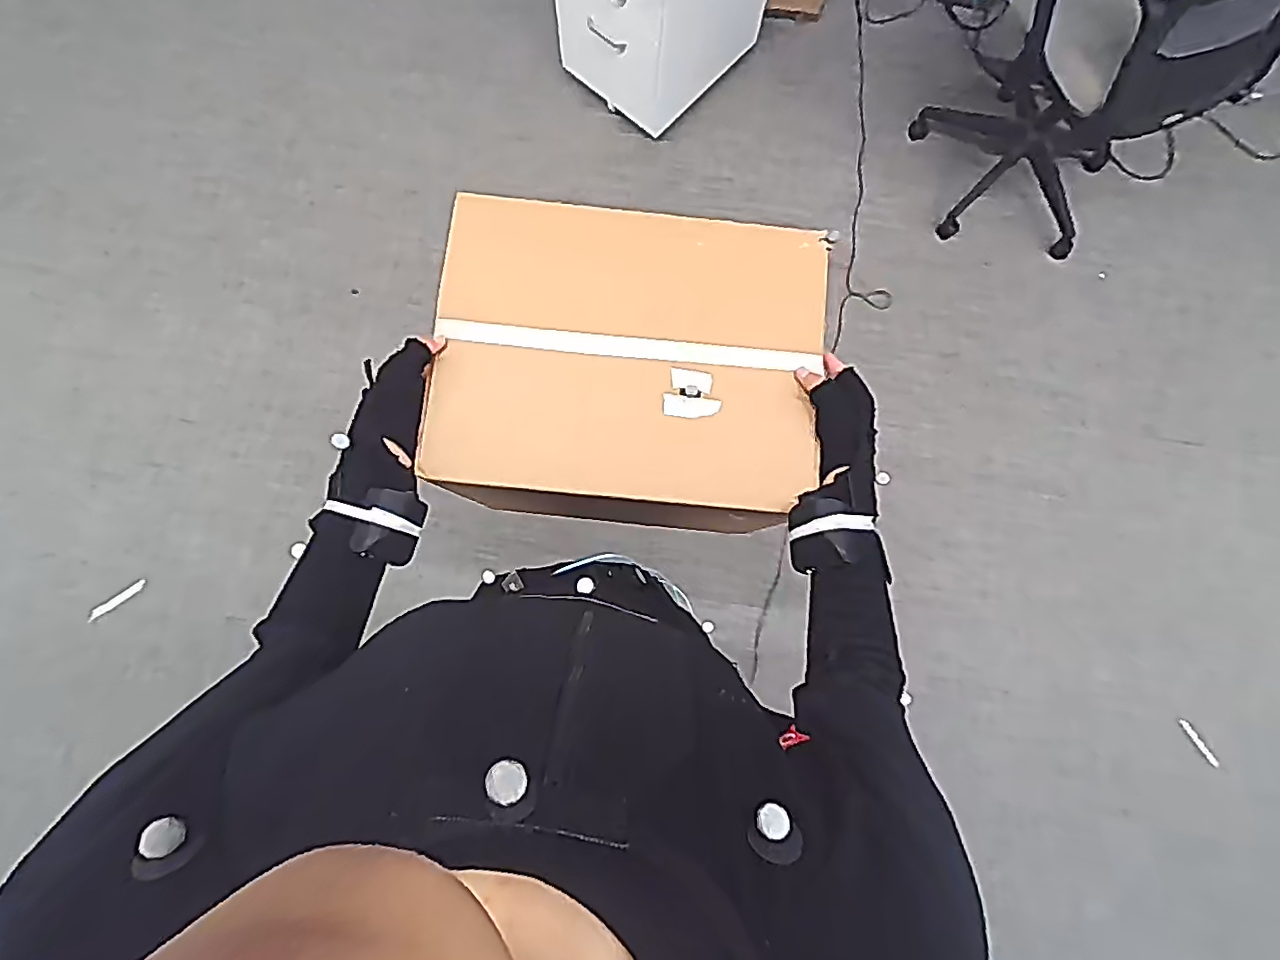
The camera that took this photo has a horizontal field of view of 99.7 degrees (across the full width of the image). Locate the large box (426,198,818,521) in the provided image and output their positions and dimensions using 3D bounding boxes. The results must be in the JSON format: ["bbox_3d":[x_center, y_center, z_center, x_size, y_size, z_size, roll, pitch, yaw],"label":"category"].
[{"bbox_3d":[-0.019,-0.122,0.723,0.408,0.320,0.320,6,82,-2],"label":"large box"}]
